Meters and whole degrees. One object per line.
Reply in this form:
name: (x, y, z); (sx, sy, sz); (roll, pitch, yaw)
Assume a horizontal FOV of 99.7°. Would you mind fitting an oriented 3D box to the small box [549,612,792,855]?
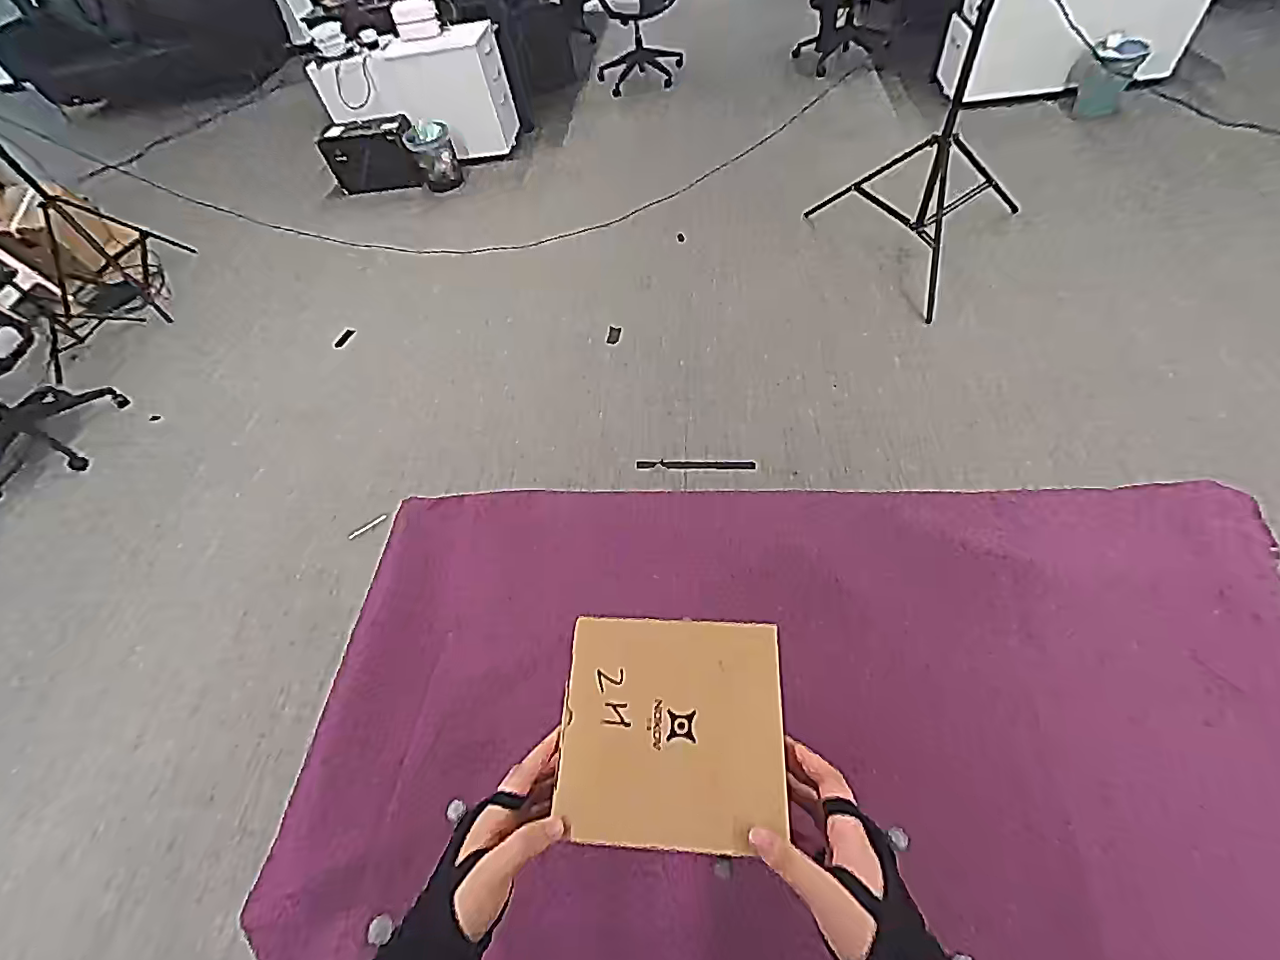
small box: (0.032, 0.228, 0.491); (0.179, 0.176, 0.168); (0, 58, 7)
